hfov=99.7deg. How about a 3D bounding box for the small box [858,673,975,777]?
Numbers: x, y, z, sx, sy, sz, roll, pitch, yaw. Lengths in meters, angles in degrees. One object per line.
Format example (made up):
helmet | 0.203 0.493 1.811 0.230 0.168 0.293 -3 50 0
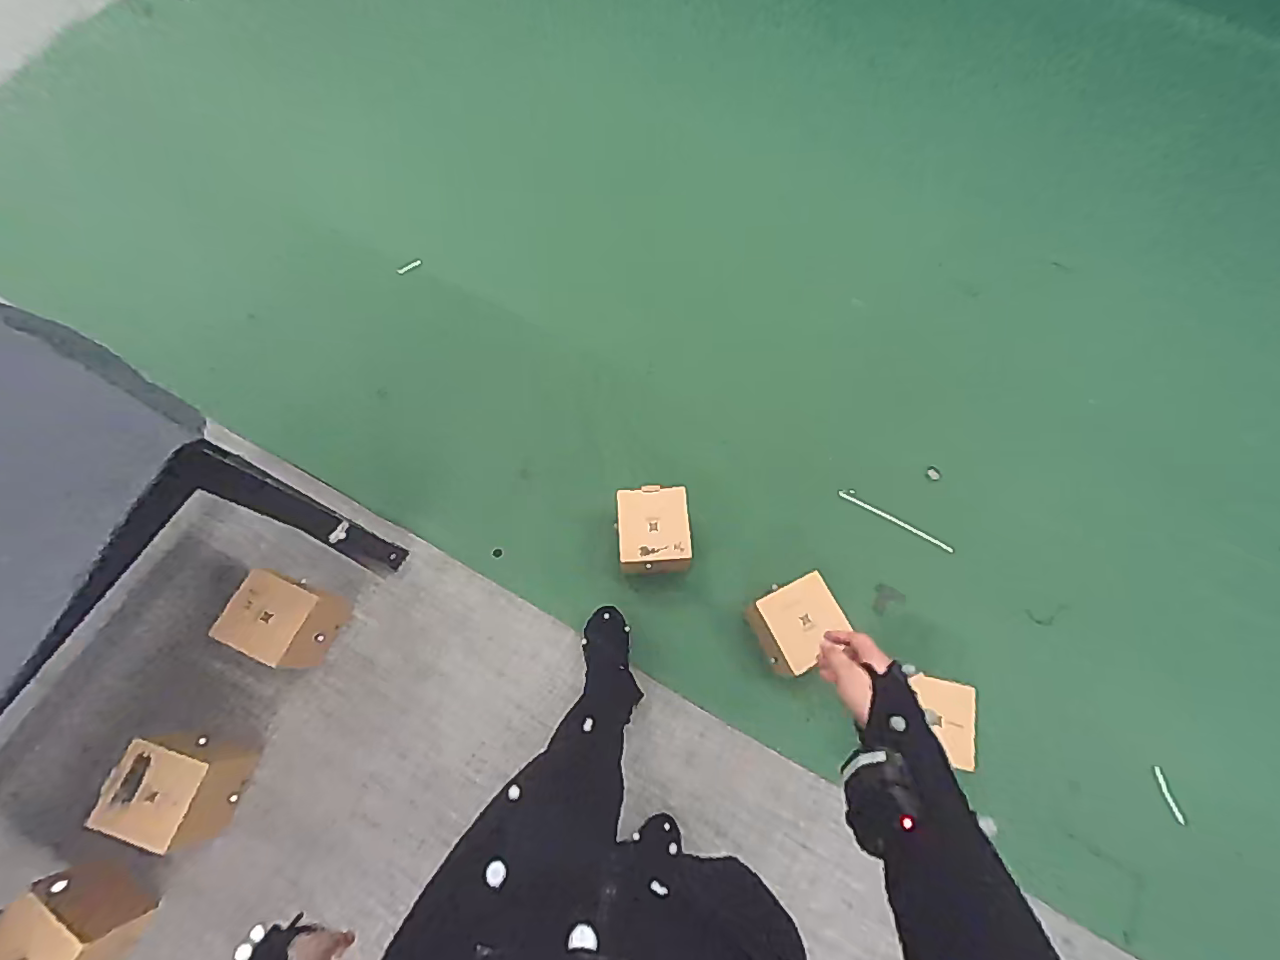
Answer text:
small box | 0.598 0.529 1.186 0.179 0.176 0.168 13 71 3

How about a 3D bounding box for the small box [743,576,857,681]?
small box | 0.360 0.345 1.248 0.168 0.176 0.179 -25 72 -10

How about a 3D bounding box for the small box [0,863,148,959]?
small box | -1.130 0.892 1.046 0.179 0.176 0.168 32 74 10

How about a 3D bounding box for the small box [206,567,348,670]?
small box | -0.818 0.321 1.243 0.179 0.176 0.168 23 72 7

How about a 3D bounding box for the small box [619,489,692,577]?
small box | 0.031 0.133 1.319 0.168 0.176 0.179 -2 70 -2
